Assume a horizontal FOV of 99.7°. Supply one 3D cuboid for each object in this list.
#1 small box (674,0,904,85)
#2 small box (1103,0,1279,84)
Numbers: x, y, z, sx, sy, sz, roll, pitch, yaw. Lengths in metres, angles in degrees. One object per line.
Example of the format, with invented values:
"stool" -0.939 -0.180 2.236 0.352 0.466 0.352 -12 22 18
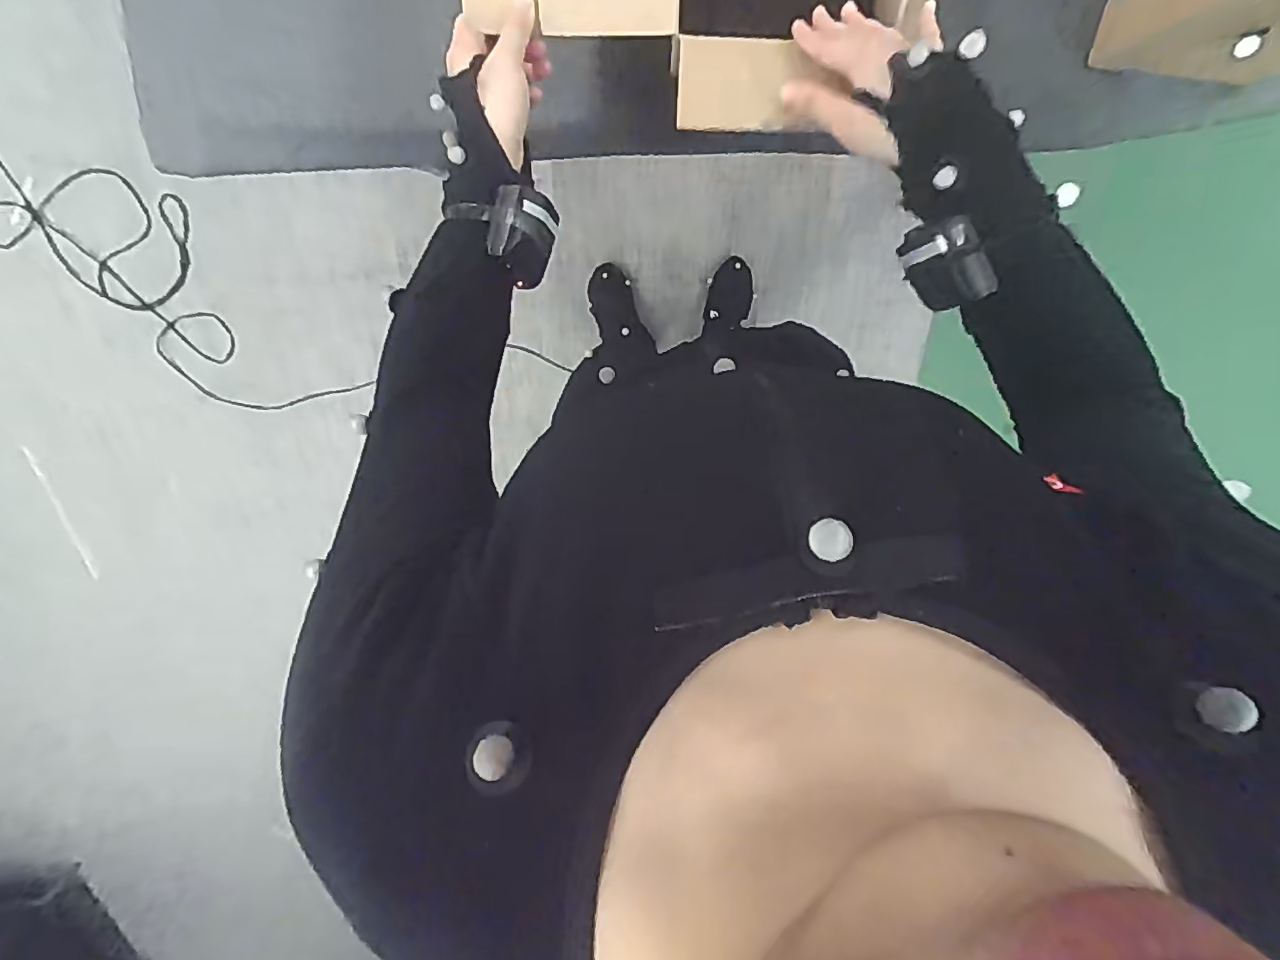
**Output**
"small box" 0.122 -0.452 0.459 0.179 0.176 0.168 4 118 3
"small box" 0.550 -0.455 0.446 0.179 0.176 0.168 6 112 0
